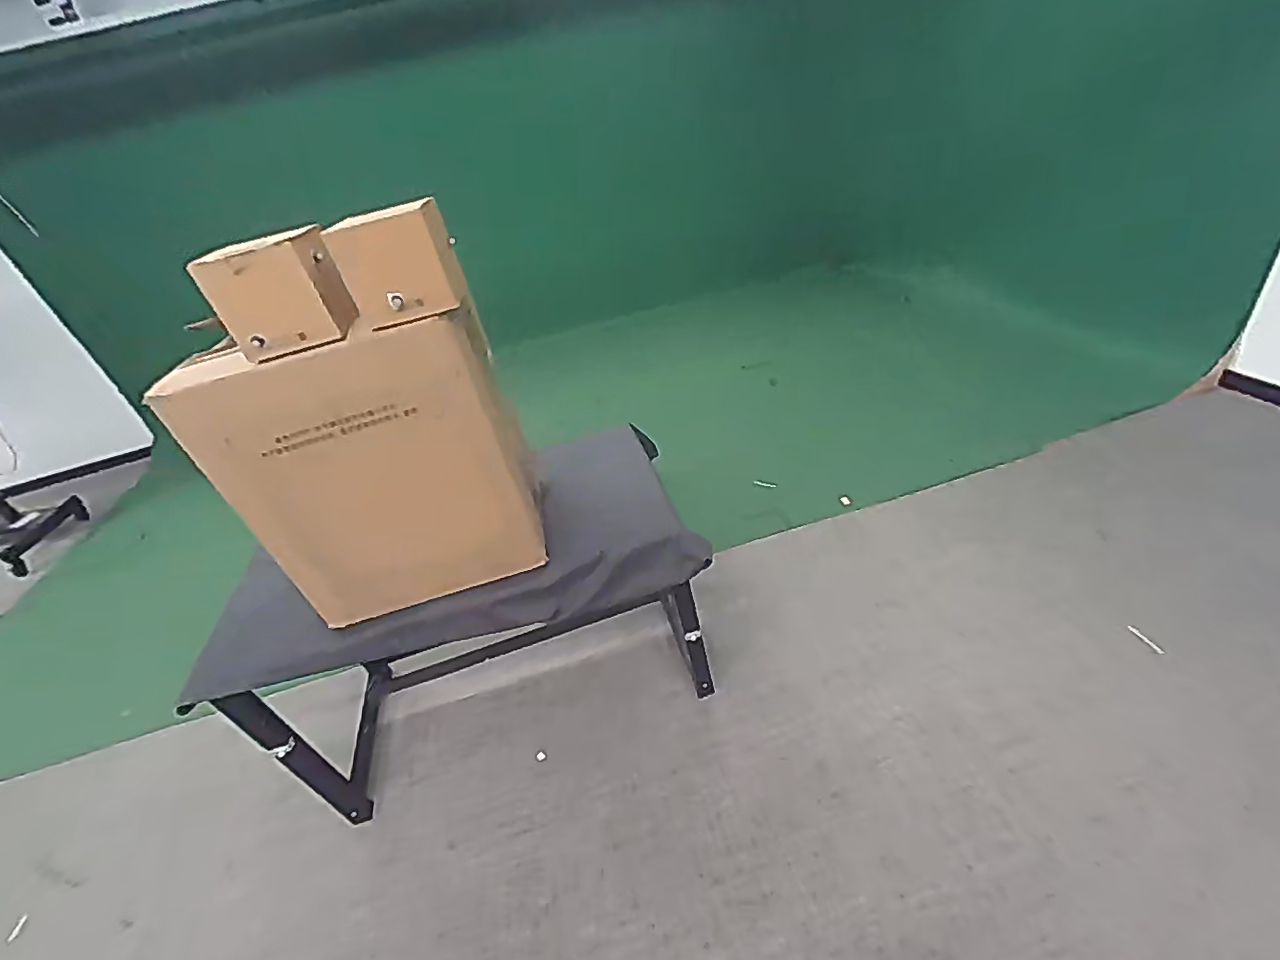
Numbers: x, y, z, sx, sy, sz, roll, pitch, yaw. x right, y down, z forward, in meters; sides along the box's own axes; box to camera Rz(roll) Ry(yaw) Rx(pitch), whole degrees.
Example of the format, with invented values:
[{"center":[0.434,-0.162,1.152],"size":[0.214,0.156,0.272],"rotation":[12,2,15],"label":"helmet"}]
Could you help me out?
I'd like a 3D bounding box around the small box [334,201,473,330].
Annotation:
[{"center":[-0.418,-0.394,0.992],"size":[0.168,0.176,0.179],"rotation":[-16,36,-2],"label":"small box"}]
